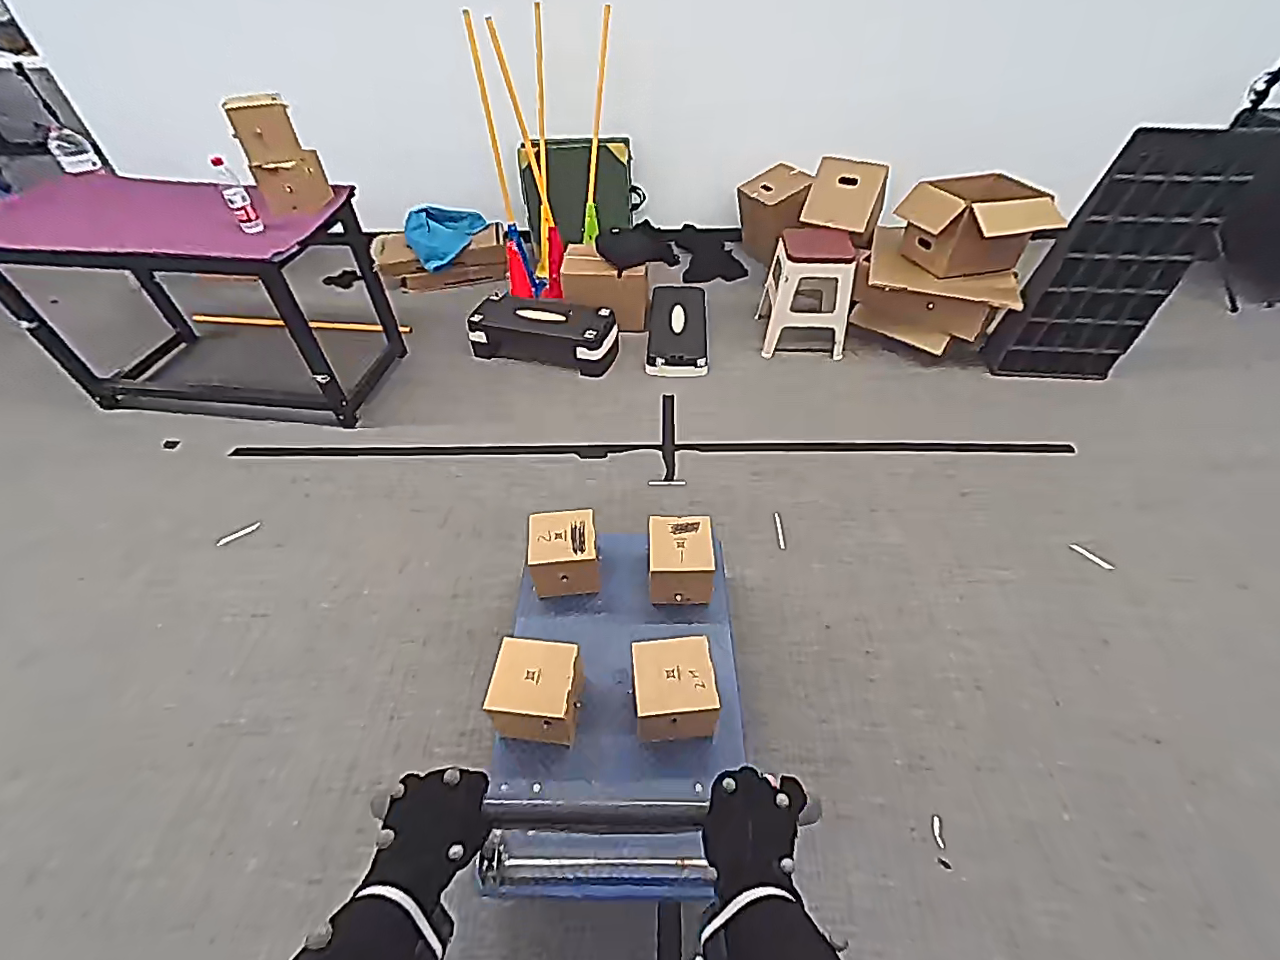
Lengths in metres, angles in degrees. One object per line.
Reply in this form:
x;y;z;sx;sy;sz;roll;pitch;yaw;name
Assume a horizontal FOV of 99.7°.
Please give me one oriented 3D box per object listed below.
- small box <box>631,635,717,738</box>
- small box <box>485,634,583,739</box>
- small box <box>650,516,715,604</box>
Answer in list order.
0.073;0.476;1.239;0.179;0.176;0.168;-4;48;-2;small box
-0.234;0.477;1.243;0.179;0.176;0.168;5;47;4;small box
0.110;0.218;1.476;0.168;0.176;0.179;0;48;1;small box
